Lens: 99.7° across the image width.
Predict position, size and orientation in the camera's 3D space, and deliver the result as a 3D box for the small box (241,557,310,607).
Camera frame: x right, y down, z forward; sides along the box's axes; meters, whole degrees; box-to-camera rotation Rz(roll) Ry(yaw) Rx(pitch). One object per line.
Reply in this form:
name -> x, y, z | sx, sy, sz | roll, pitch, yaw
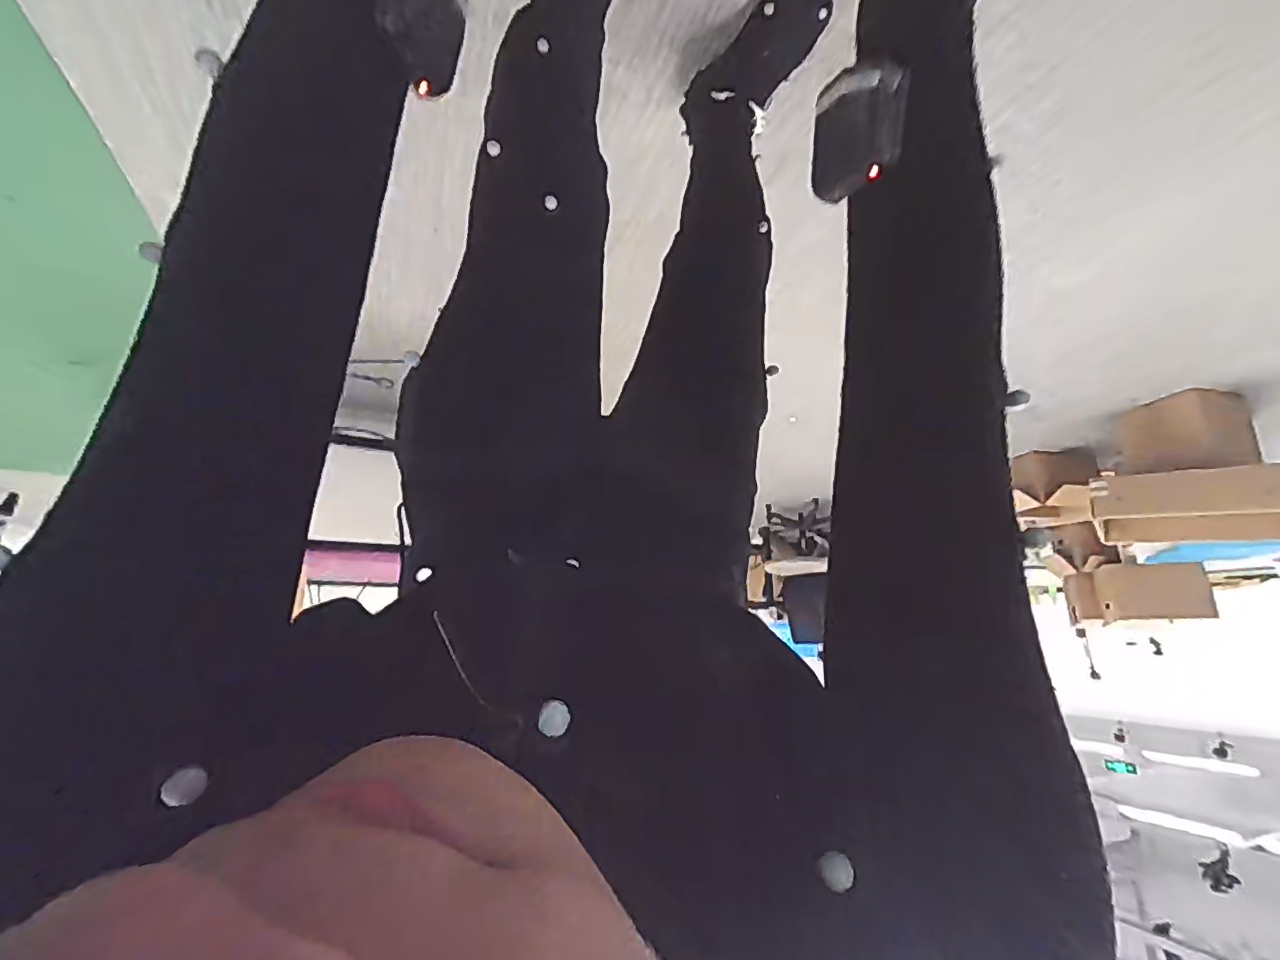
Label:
small box -> -1.332, 0.379, 1.987 | 0.168, 0.176, 0.179 | 5, 164, -21
